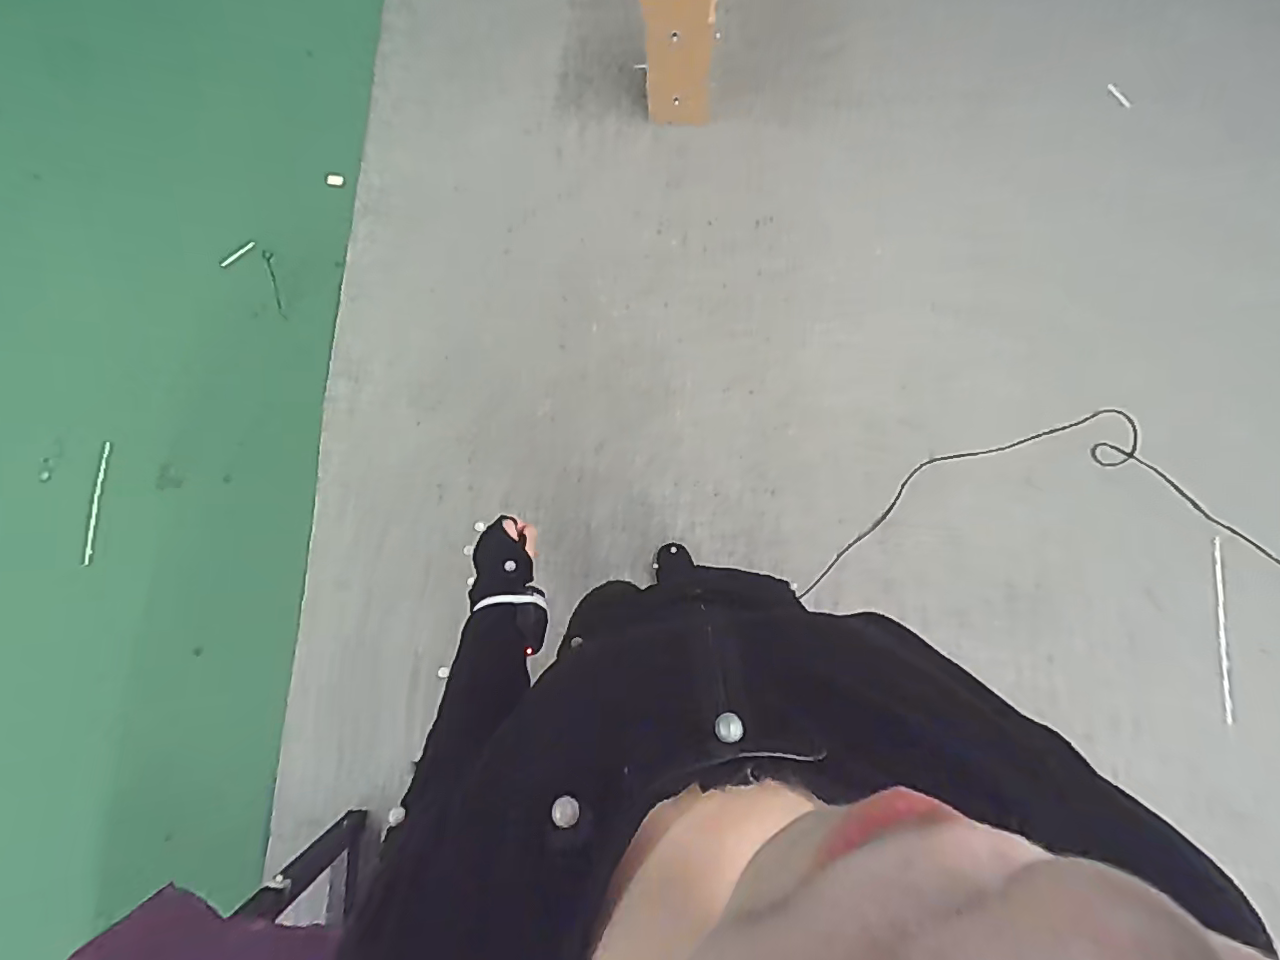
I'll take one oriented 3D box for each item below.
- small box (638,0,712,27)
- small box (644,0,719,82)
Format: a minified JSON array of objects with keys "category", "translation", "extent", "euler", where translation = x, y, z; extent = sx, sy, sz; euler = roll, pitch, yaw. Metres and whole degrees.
[{"category":"small box","translation":[0.090,-1.215,1.267],"extent":[0.179,0.176,0.168],"euler":[10,84,4]},{"category":"small box","translation":[0.111,-1.195,1.428],"extent":[0.179,0.176,0.168],"euler":[7,84,4]}]
